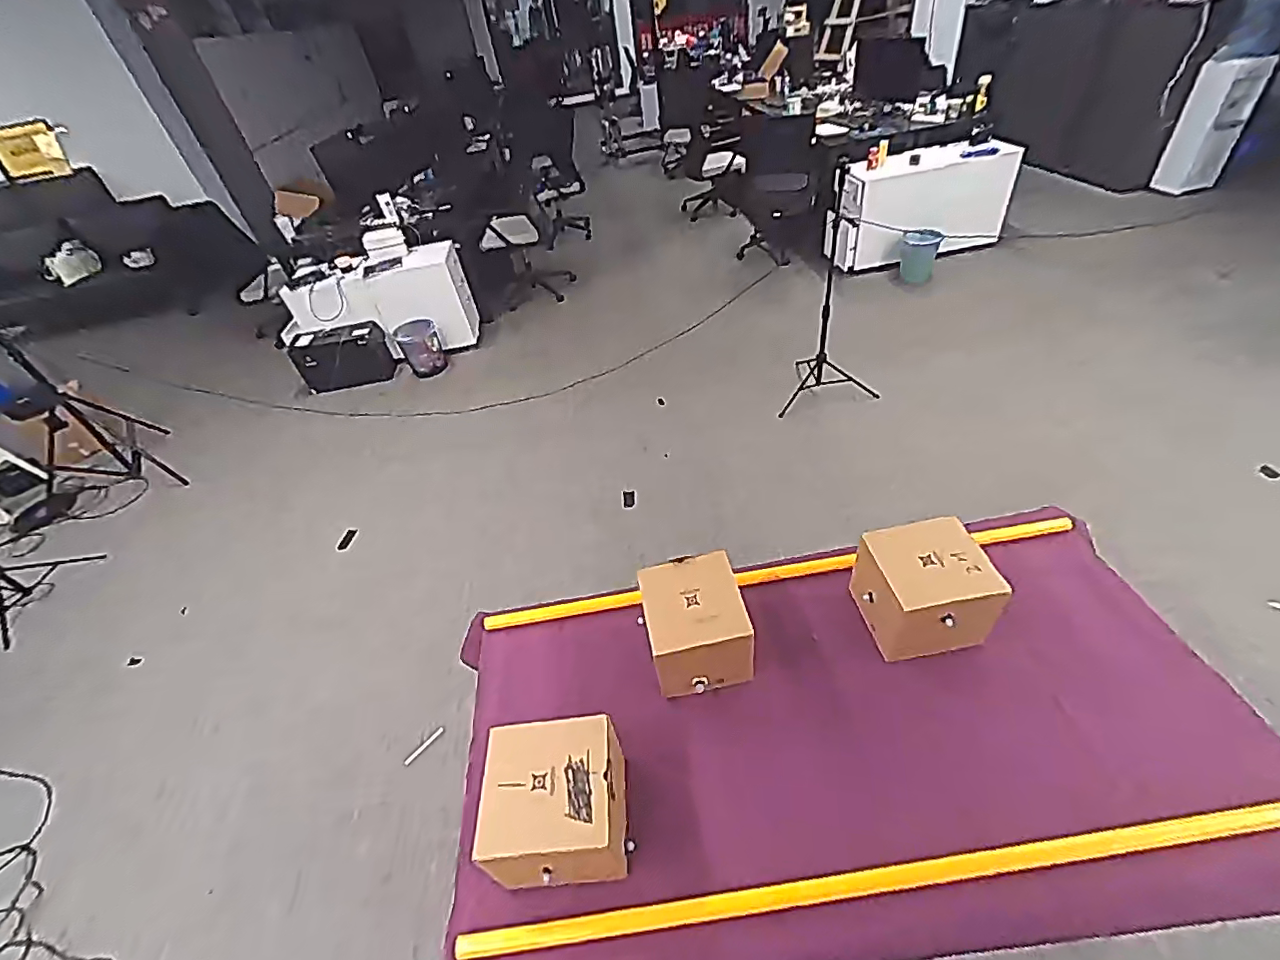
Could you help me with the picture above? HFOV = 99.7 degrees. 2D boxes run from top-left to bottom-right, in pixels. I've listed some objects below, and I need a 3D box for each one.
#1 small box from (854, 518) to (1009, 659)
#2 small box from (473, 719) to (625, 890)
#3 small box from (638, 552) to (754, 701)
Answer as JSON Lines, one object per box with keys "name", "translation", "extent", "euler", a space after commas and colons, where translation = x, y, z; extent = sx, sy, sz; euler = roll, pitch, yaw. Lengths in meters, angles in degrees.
{"name": "small box", "translation": [0.493, 0.194, 0.951], "extent": [0.179, 0.176, 0.168], "euler": [-11, 43, 0]}
{"name": "small box", "translation": [-0.115, 0.465, 0.774], "extent": [0.179, 0.176, 0.168], "euler": [-7, 42, 2]}
{"name": "small box", "translation": [0.097, 0.260, 0.961], "extent": [0.168, 0.176, 0.179], "euler": [-13, 43, -1]}
